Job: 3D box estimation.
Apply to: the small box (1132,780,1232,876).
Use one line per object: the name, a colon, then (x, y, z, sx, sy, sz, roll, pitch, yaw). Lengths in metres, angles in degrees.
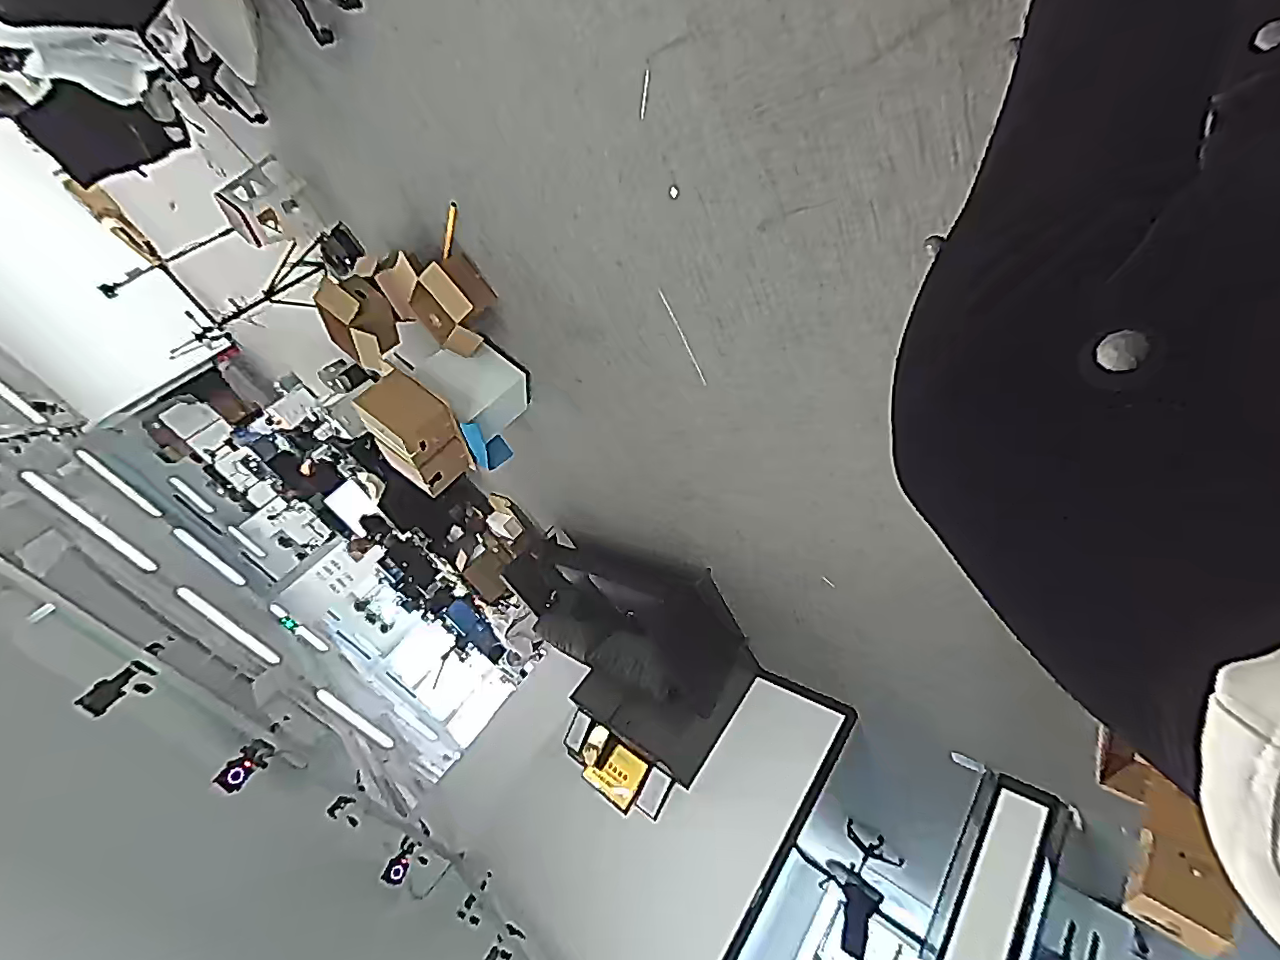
small box: (1.460, 0.960, 1.458, 0.168, 0.176, 0.179, 11, 137, 47)

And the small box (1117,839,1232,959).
small box: (1.363, 1.069, 1.381, 0.168, 0.176, 0.179, 19, 142, 40)

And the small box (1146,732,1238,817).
small box: (1.562, 0.859, 1.534, 0.168, 0.176, 0.179, 10, 137, 46)
